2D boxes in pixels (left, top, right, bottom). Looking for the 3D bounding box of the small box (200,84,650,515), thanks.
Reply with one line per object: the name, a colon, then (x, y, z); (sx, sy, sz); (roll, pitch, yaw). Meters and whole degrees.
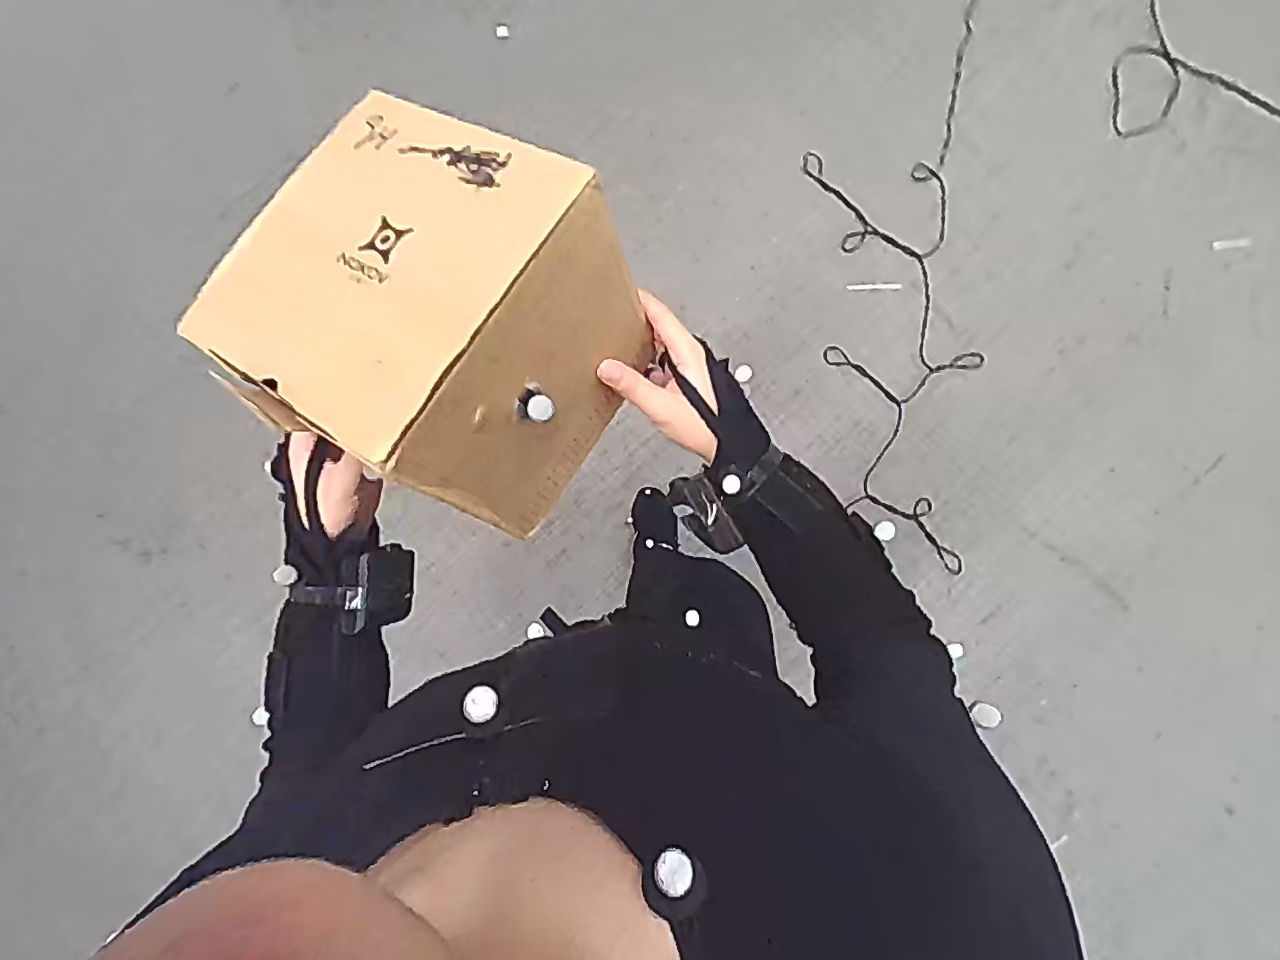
small box: (-0.112, -0.098, 0.352); (0.168, 0.176, 0.179); (31, 82, 19)
